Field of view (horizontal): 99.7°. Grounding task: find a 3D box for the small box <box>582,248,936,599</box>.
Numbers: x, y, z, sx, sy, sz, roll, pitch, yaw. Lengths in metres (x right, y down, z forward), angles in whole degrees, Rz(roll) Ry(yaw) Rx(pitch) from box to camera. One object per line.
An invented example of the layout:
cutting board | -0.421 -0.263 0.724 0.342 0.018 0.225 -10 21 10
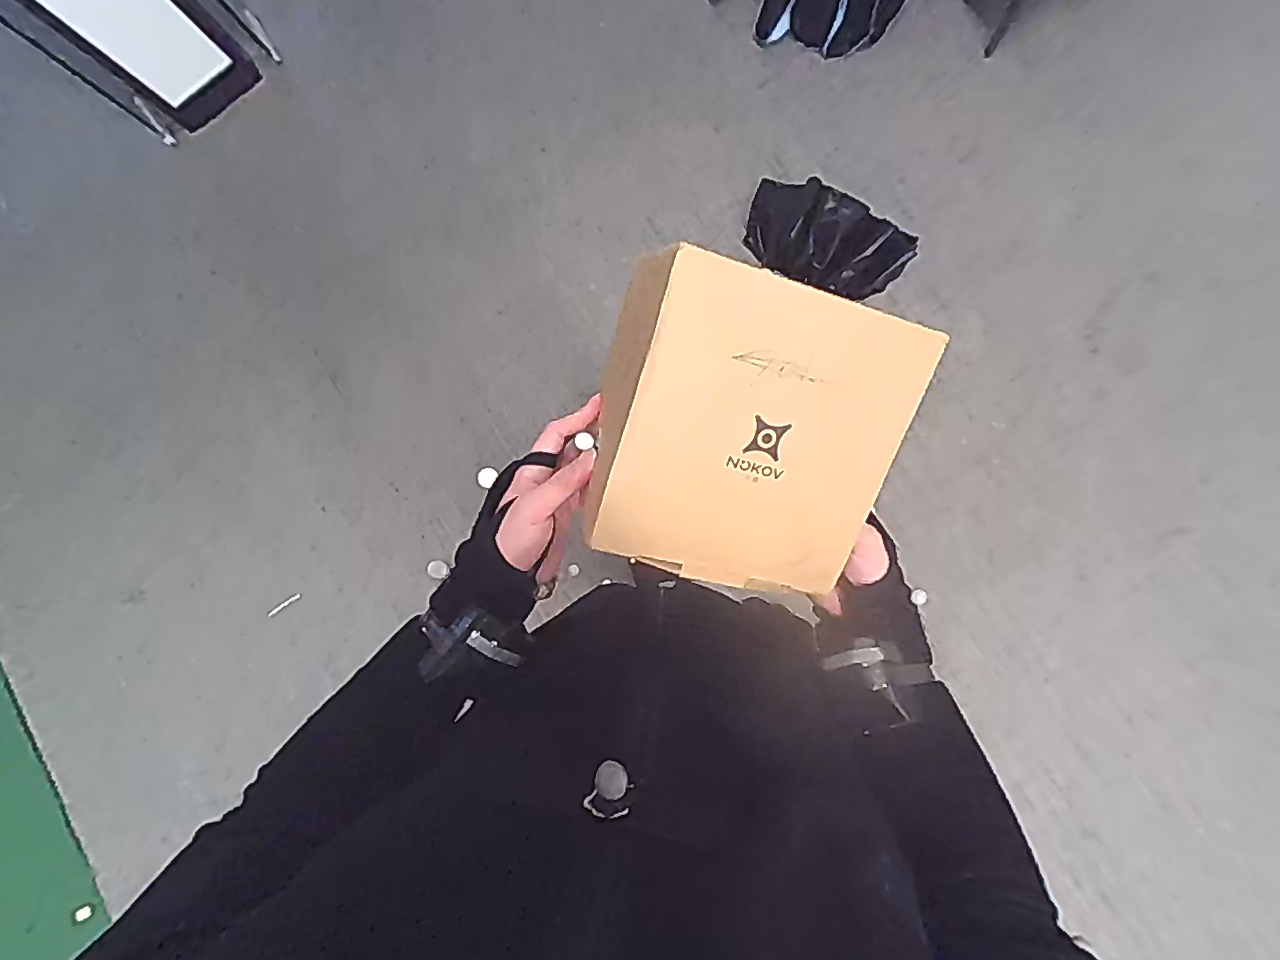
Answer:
small box | 0.058 -0.045 0.387 0.168 0.176 0.179 13 106 -14
